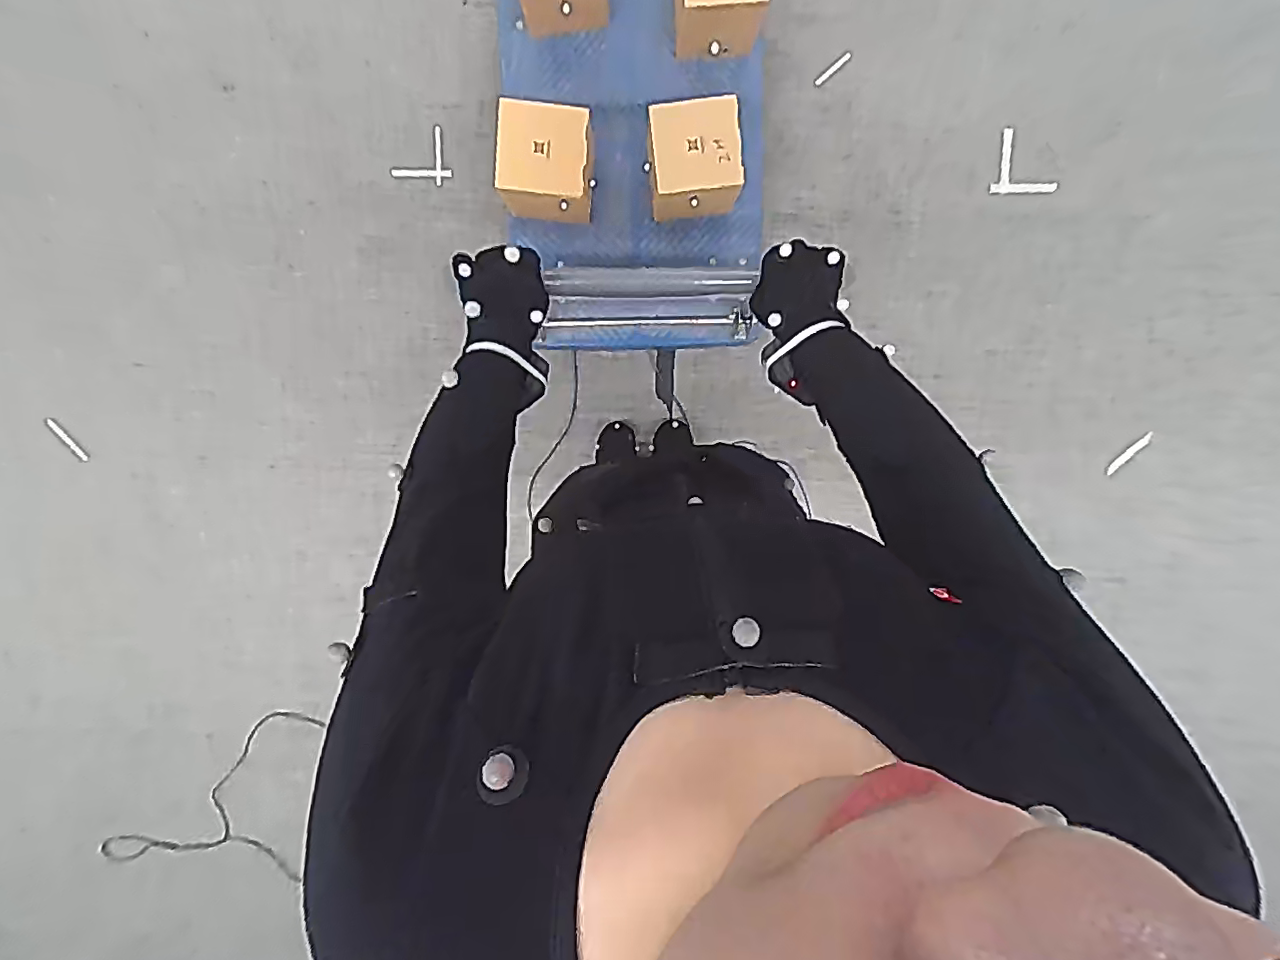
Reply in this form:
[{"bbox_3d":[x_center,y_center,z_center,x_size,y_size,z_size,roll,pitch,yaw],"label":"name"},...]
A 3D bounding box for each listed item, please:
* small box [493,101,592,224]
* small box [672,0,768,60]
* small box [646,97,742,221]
[{"bbox_3d":[-0.198,-0.653,1.131,0.179,0.176,0.168,5,98,-3],"label":"small box"},{"bbox_3d":[0.153,-0.994,1.087,0.168,0.176,0.179,-4,99,0],"label":"small box"},{"bbox_3d":[0.106,-0.661,1.134,0.179,0.176,0.168,-7,98,0],"label":"small box"}]
